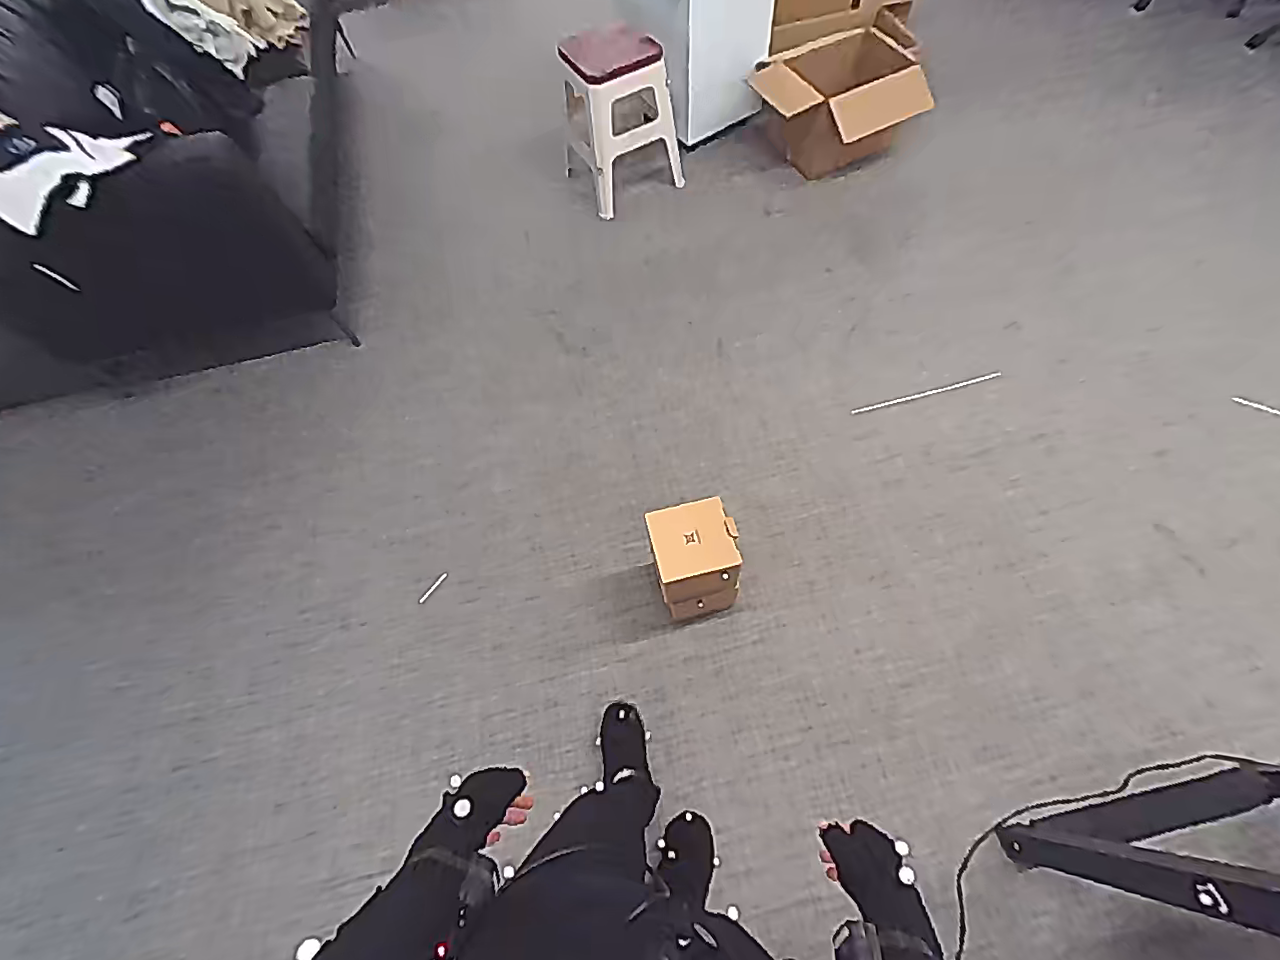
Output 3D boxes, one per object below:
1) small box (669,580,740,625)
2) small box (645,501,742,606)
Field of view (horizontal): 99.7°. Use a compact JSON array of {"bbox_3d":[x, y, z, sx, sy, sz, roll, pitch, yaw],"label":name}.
[{"bbox_3d":[0.143,0.249,1.373,0.168,0.176,0.179,-14,61,-3],"label":"small box"},{"bbox_3d":[0.119,0.173,1.230,0.179,0.176,0.168,-14,61,-3],"label":"small box"}]
